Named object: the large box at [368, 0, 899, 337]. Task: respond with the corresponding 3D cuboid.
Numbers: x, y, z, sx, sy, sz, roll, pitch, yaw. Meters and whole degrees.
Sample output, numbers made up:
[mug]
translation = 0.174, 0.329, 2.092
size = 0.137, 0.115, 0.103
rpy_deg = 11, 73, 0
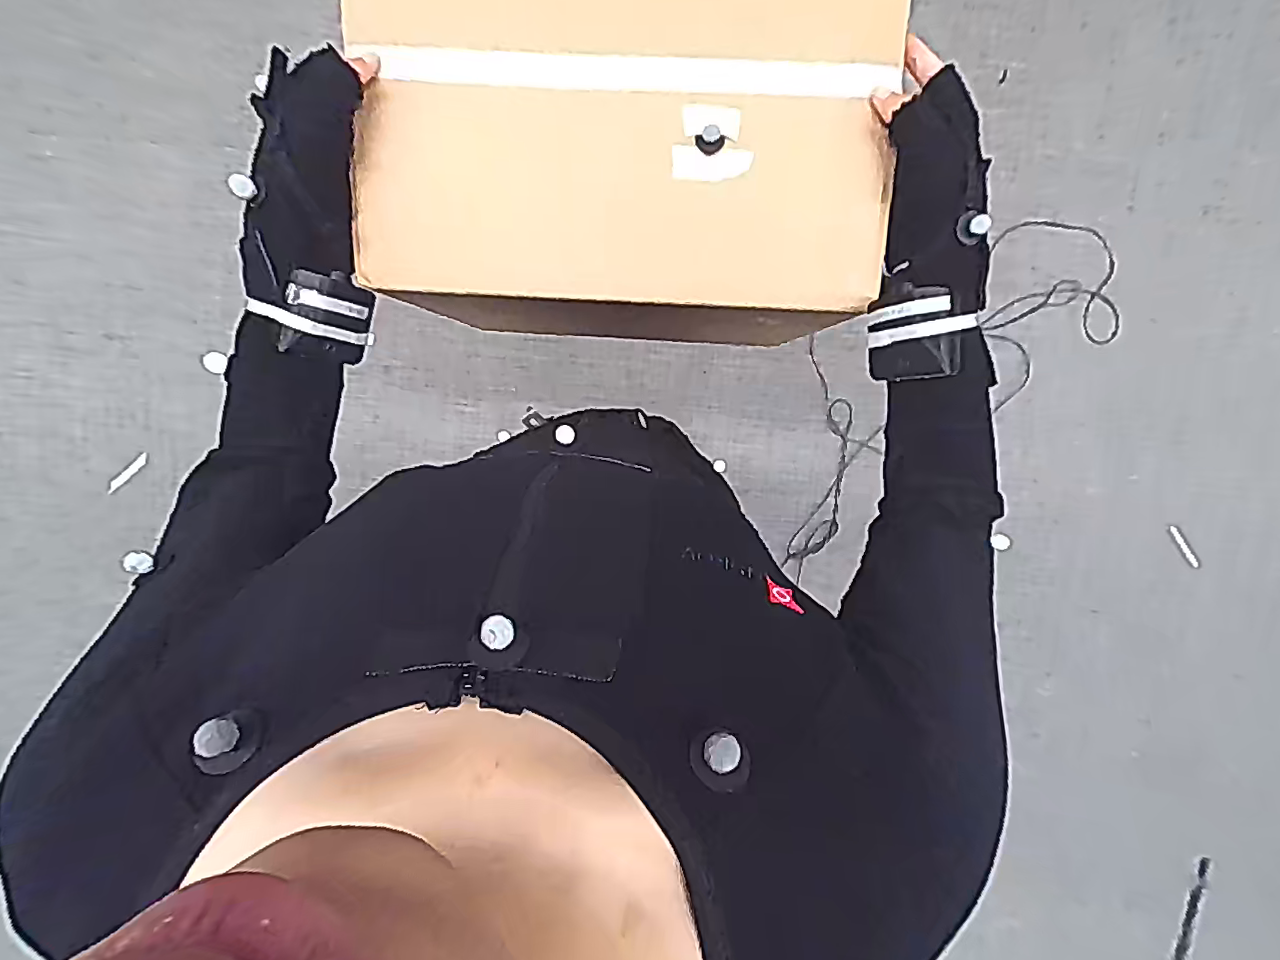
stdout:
[large box]
translation = -0.009, -0.326, 0.558
size = 0.408, 0.320, 0.320
rpy_deg = 3, 99, 0
